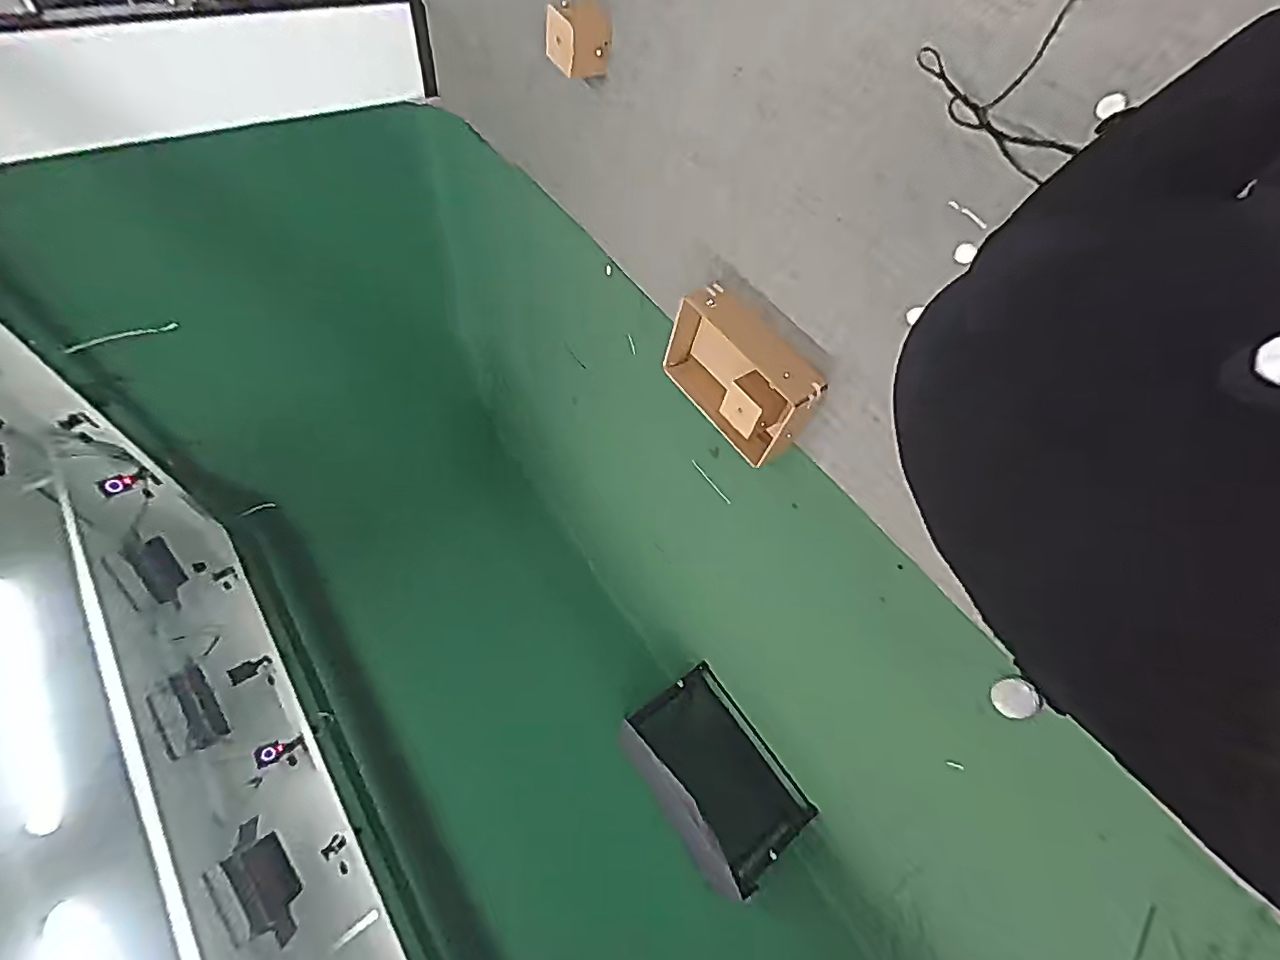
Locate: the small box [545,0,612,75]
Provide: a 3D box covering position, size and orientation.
[{"bbox_3d":[-0.228,-1.634,1.989,0.179,0.176,0.168,53,154,16],"label":"small box"}]
